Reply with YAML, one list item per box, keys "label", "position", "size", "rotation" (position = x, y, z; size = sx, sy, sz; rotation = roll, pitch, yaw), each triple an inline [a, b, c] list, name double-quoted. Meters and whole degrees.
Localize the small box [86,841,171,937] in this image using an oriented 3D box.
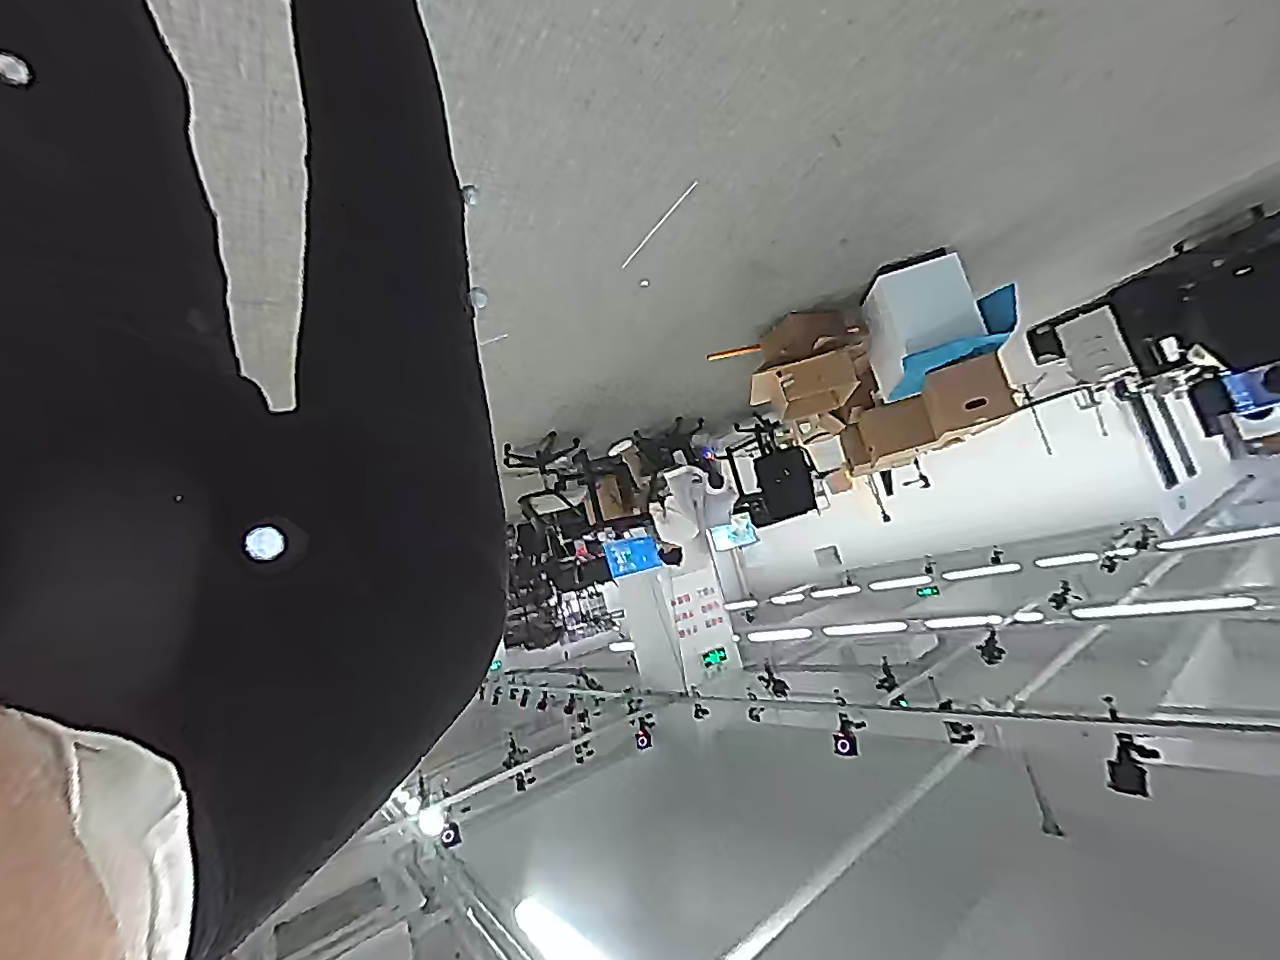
- label: "small box"
  position: [-1.572, 1.240, 1.667]
  size: [0.168, 0.176, 0.179]
  rotation: [-7, 169, -37]
